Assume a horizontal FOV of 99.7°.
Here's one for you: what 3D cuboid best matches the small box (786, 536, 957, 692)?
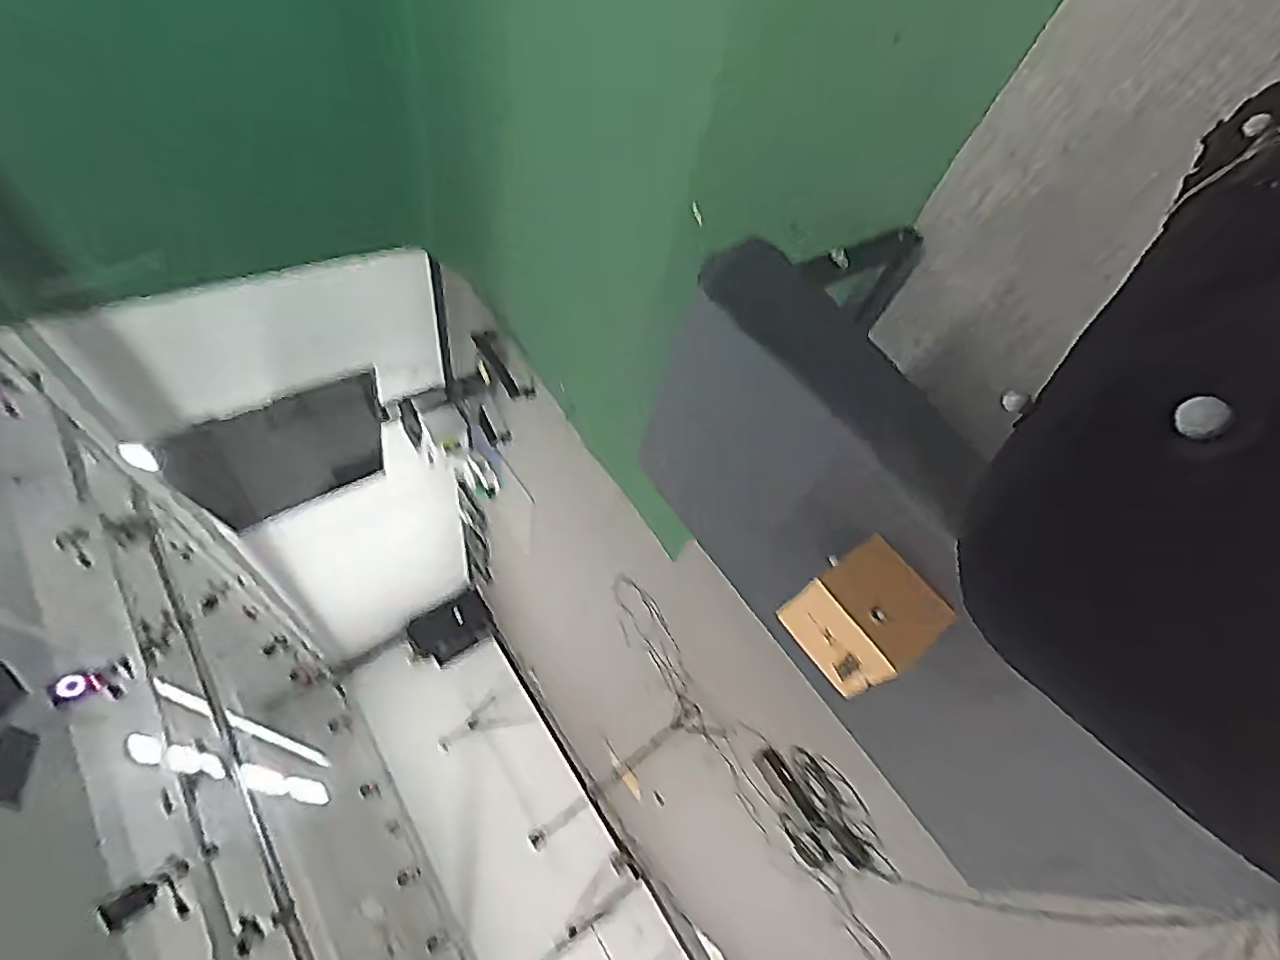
[{"bbox_3d":[0.395,0.228,0.931,0.179,0.176,0.168,52,151,22],"label":"small box"}]
